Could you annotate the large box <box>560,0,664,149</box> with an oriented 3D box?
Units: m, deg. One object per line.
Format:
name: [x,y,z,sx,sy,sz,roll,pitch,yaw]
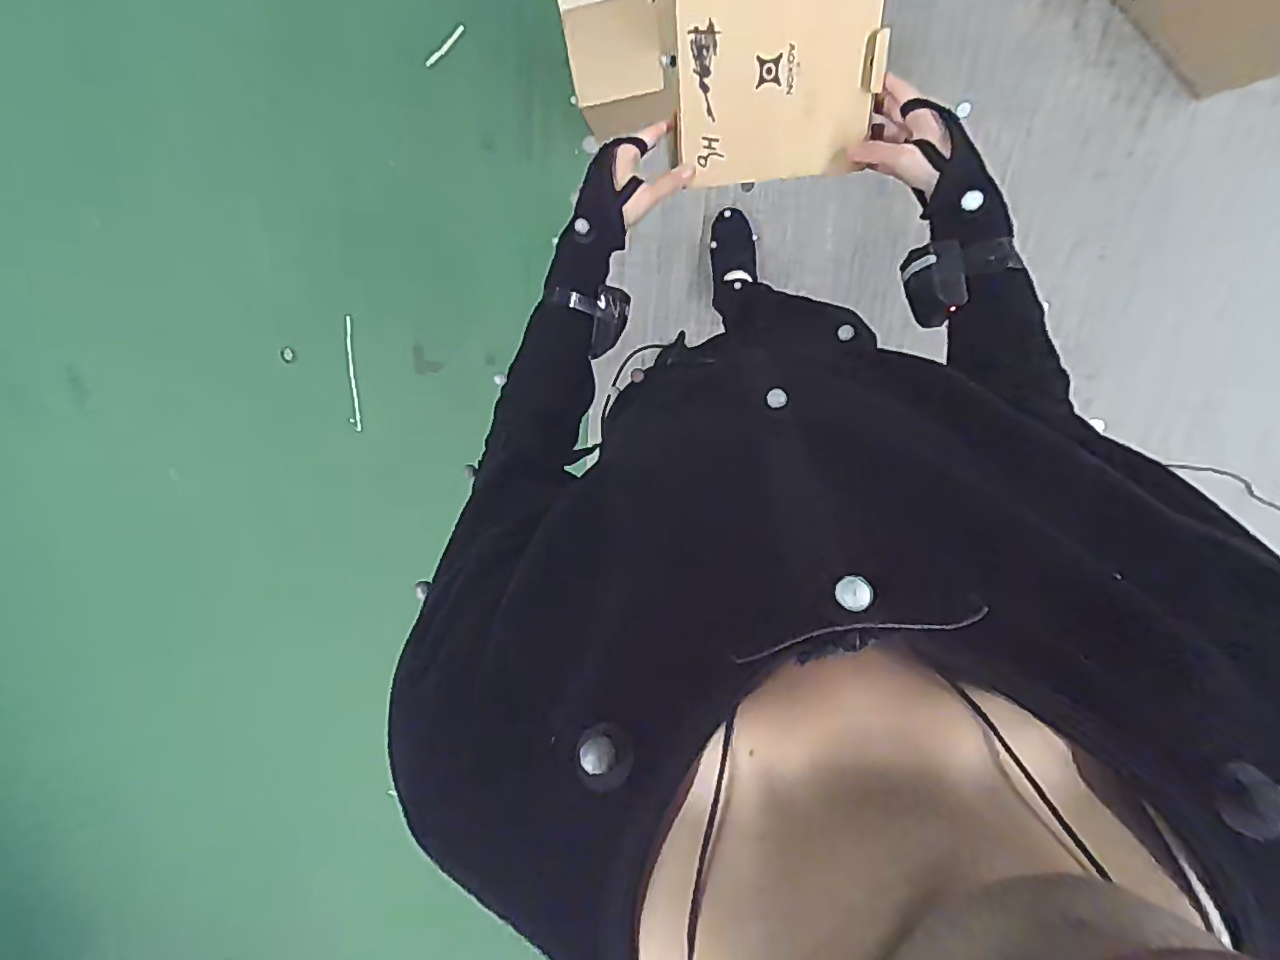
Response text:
large box: [0.071,-0.895,1.061,0.408,0.320,0.320,-8,108,8]

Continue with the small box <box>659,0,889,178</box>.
small box: [0.116,-0.396,0.526,0.179,0.176,0.168,-5,120,0]
